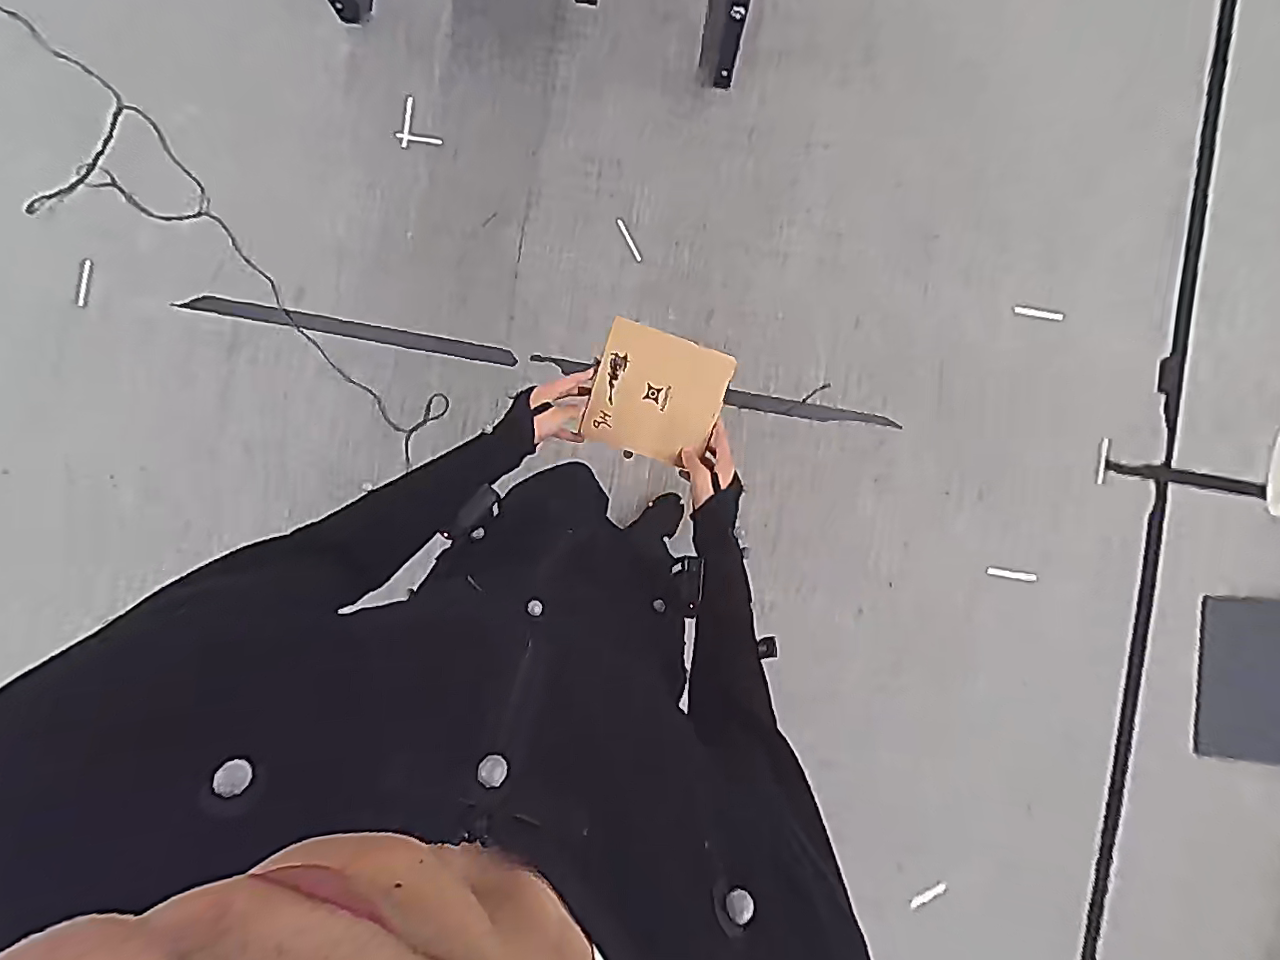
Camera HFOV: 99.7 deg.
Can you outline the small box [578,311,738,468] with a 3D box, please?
[{"bbox_3d":[0.015,-0.129,0.795,0.179,0.176,0.168,18,95,-9],"label":"small box"}]
